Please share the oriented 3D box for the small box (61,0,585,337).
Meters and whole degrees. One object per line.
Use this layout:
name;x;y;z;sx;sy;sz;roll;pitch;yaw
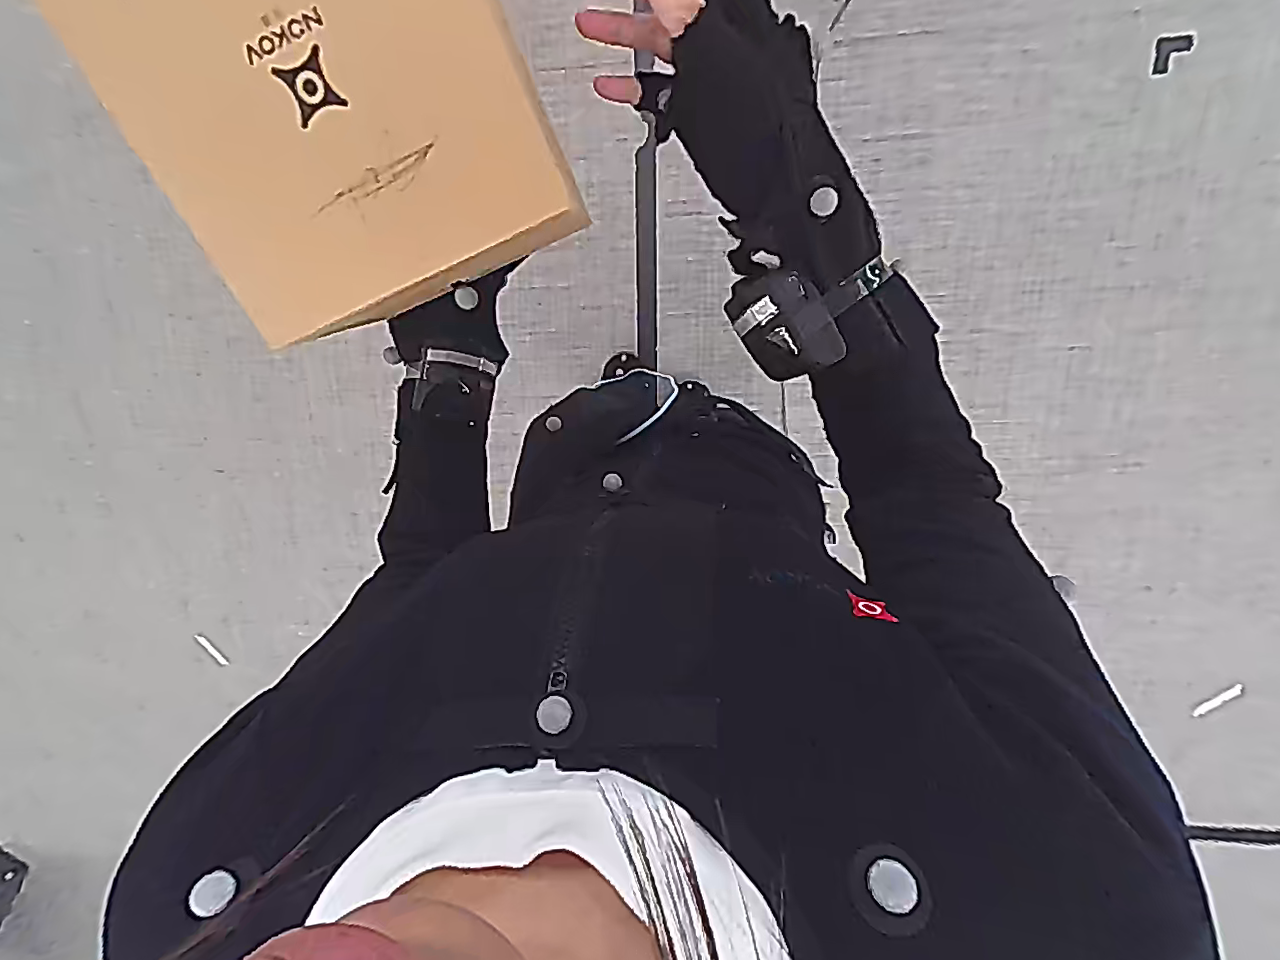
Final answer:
small box;-0.143;-0.204;0.313;0.168;0.176;0.179;-21;112;8
